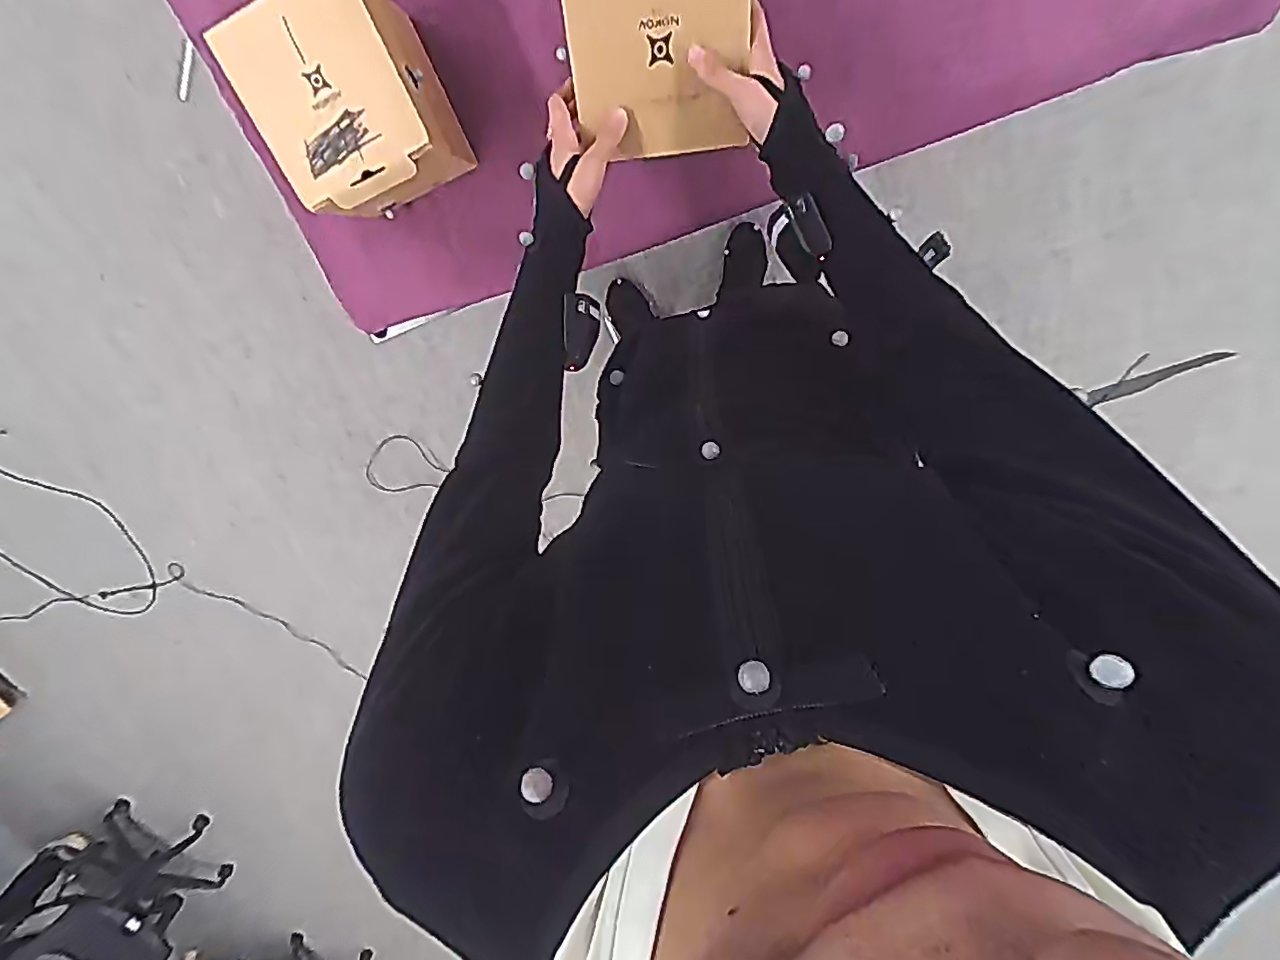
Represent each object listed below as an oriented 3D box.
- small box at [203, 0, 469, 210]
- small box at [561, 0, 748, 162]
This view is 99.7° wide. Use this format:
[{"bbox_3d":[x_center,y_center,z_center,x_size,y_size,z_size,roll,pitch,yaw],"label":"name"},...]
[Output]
[{"bbox_3d":[-0.327,-0.434,0.627,0.168,0.176,0.179,-21,111,10],"label":"small box"},{"bbox_3d":[0.011,-0.436,0.548,0.168,0.176,0.179,-6,125,2],"label":"small box"}]
